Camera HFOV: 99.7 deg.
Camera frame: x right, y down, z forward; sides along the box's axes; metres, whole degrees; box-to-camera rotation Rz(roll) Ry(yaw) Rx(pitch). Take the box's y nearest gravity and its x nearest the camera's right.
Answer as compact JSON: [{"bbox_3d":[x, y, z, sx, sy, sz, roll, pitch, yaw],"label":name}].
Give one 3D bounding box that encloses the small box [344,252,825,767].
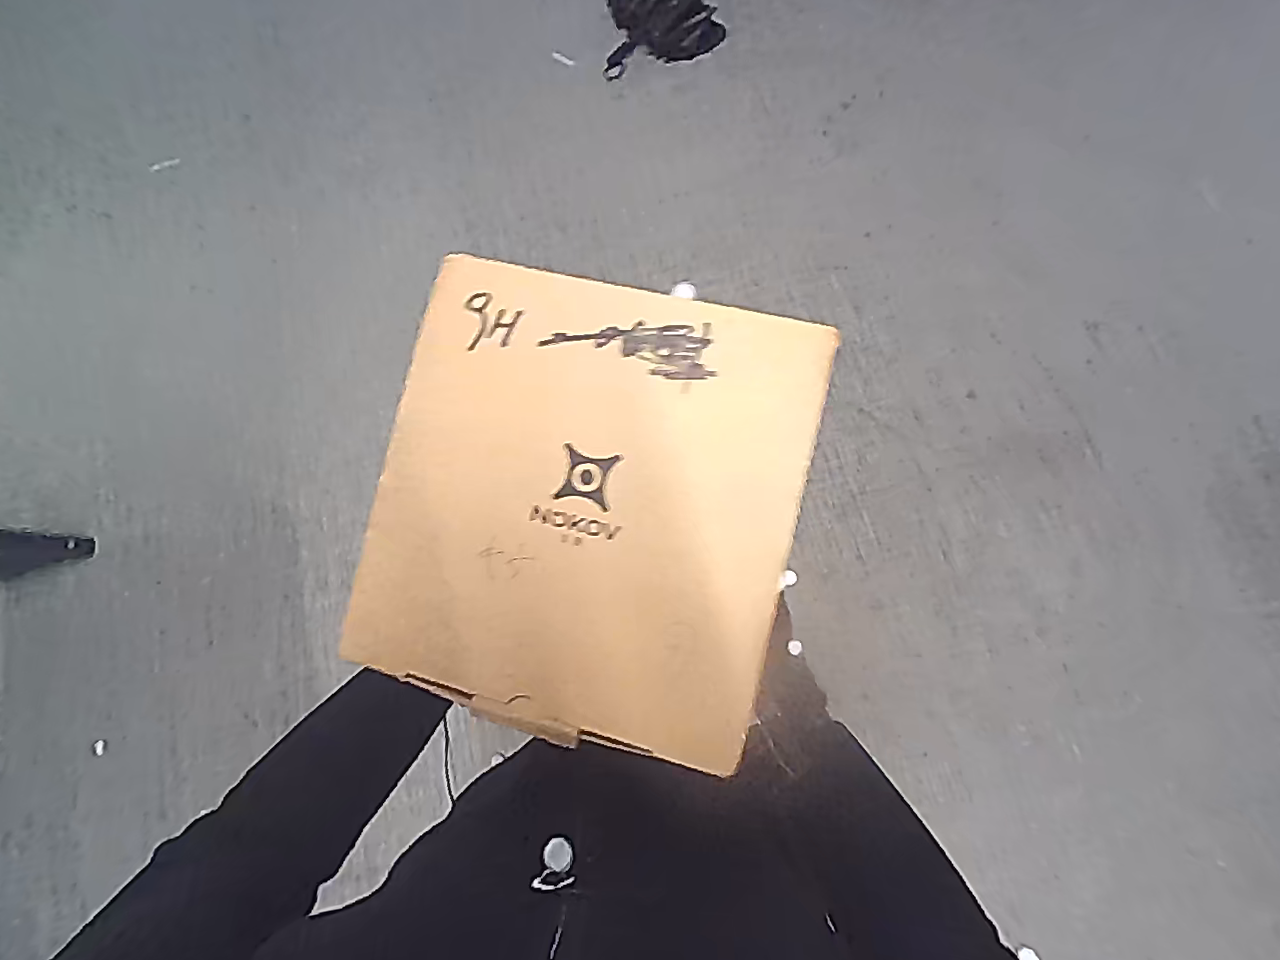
[{"bbox_3d":[-0.016,0.010,0.294,0.168,0.176,0.179,13,89,8],"label":"small box"}]
